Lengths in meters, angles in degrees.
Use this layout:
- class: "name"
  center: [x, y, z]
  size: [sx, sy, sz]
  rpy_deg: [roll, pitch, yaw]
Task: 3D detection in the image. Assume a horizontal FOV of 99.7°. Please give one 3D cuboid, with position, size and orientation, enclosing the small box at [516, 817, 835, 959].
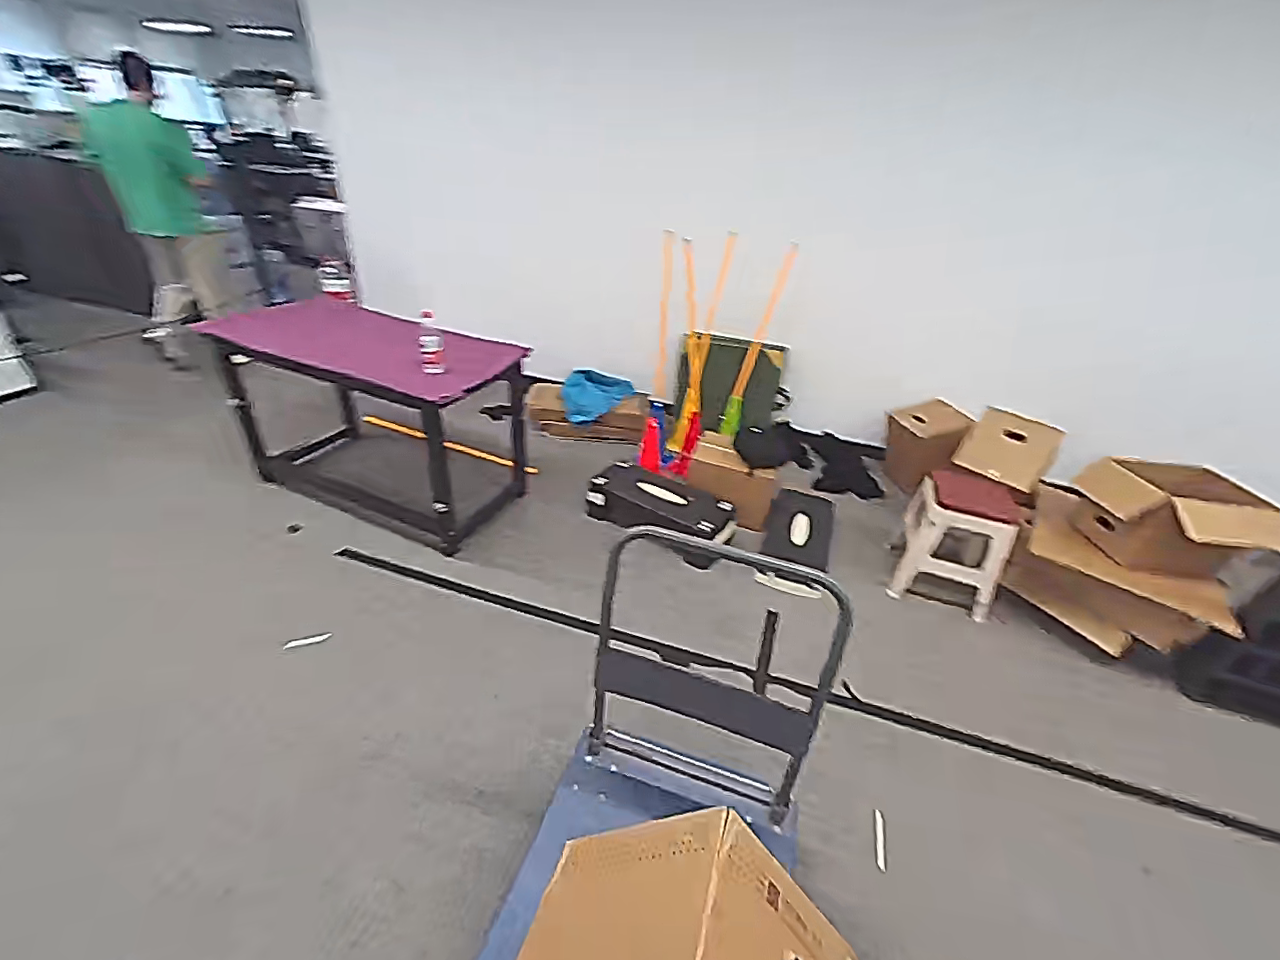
- class: "small box"
  center: [0.018, 0.371, 0.369]
  size: [0.168, 0.179, 0.176]
  rpy_deg: [52, 29, -10]
